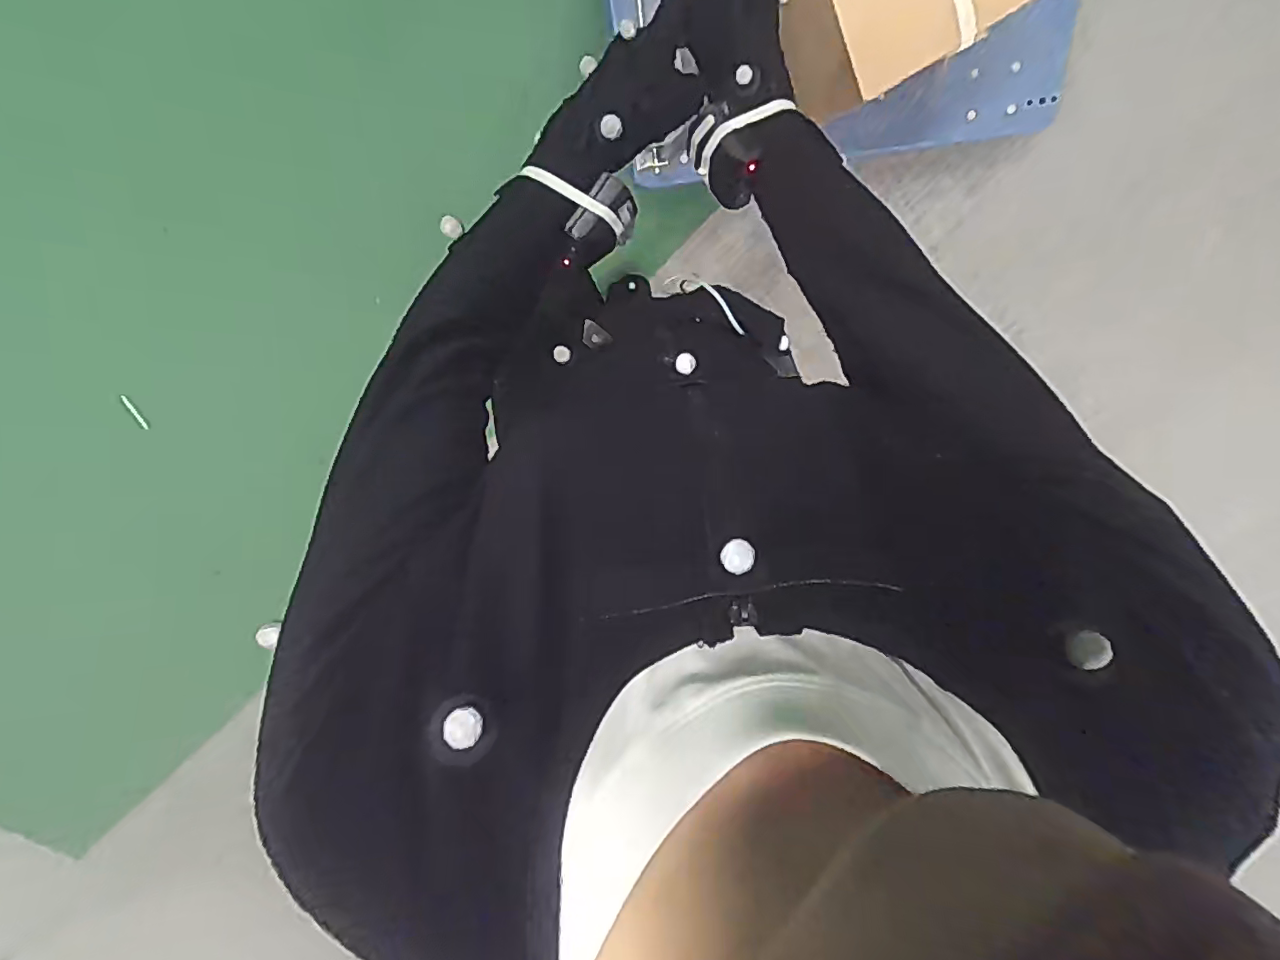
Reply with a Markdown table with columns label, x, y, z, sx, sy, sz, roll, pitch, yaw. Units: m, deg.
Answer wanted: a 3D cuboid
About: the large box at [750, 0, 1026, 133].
| label | x | y | z | sx | sy | sz | roll | pitch | yaw |
| --- | --- | --- | --- | --- | --- | --- | --- | --- | --- |
| large box | 0.354 | -0.840 | 0.826 | 0.320 | 0.320 | 0.408 | -28 | 113 | 8 |
